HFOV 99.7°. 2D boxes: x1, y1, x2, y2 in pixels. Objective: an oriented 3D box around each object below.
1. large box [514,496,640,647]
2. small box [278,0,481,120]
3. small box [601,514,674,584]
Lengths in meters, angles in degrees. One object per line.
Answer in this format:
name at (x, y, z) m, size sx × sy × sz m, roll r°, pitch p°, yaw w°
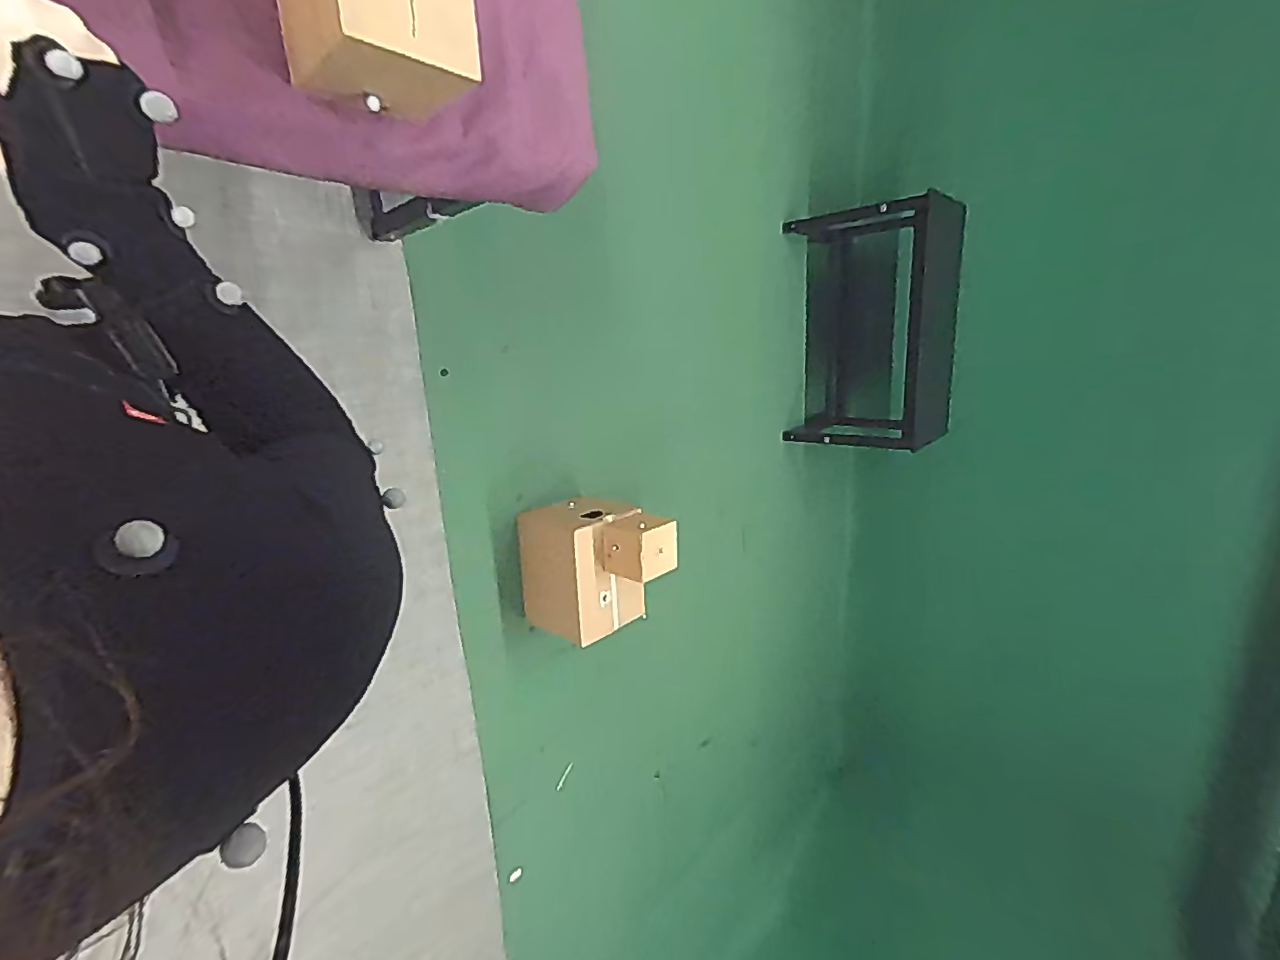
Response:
large box at (-0.218, 0.300, 1.904) m, size 0.320 × 0.320 × 0.408 m, roll -15°, pitch 109°, yaw -45°
small box at (-0.313, -0.565, 0.636) m, size 0.168 × 0.176 × 0.179 m, roll -17°, pitch 110°, yaw -45°
small box at (-0.007, 0.217, 1.757) m, size 0.179 × 0.176 × 0.168 m, roll -15°, pitch 109°, yaw -46°
